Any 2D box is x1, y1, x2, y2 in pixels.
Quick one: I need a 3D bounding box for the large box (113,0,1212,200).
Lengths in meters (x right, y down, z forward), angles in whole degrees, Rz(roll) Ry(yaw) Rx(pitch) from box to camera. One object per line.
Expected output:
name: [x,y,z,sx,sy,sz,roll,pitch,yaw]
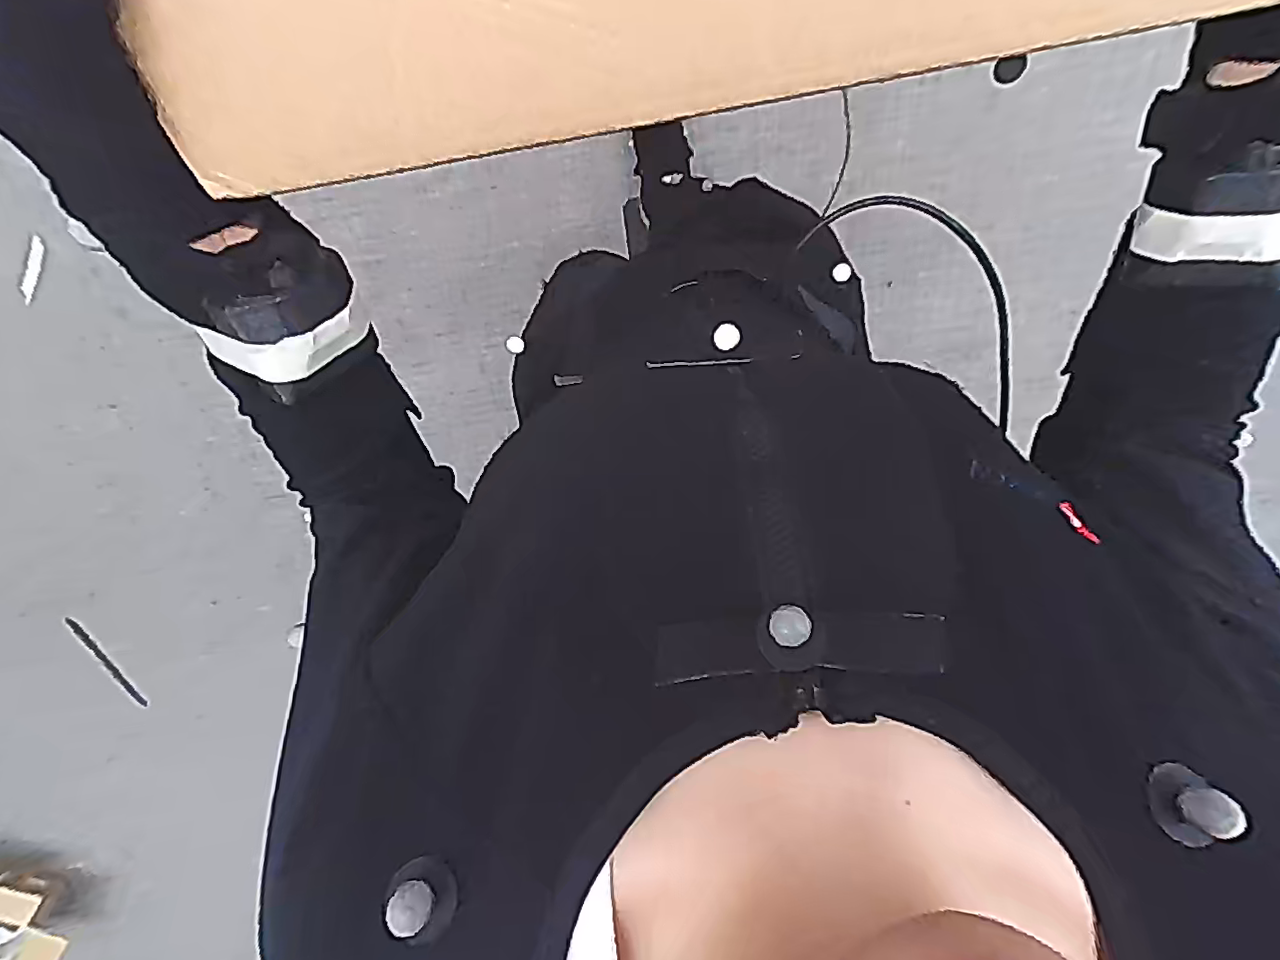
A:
large box: [0.001,-0.354,0.218,0.408,0.320,0.320,-9,129,3]
